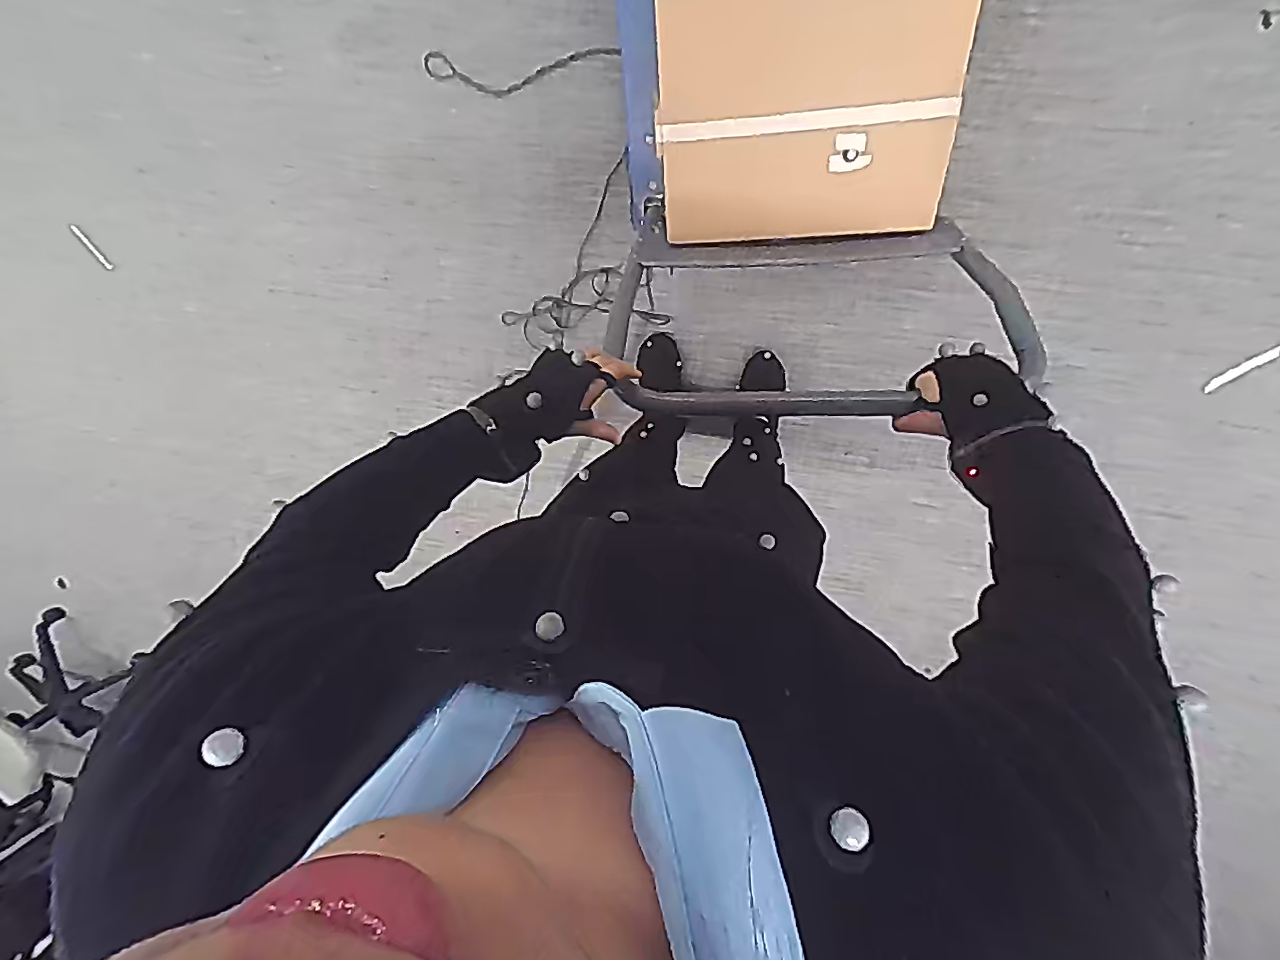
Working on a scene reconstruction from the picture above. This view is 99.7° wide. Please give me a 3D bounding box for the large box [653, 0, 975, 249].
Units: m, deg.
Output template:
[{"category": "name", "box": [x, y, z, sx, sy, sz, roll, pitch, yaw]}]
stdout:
[{"category": "large box", "box": [0.241, -0.586, 0.877, 0.408, 0.320, 0.320, 0, 127, 8]}]
